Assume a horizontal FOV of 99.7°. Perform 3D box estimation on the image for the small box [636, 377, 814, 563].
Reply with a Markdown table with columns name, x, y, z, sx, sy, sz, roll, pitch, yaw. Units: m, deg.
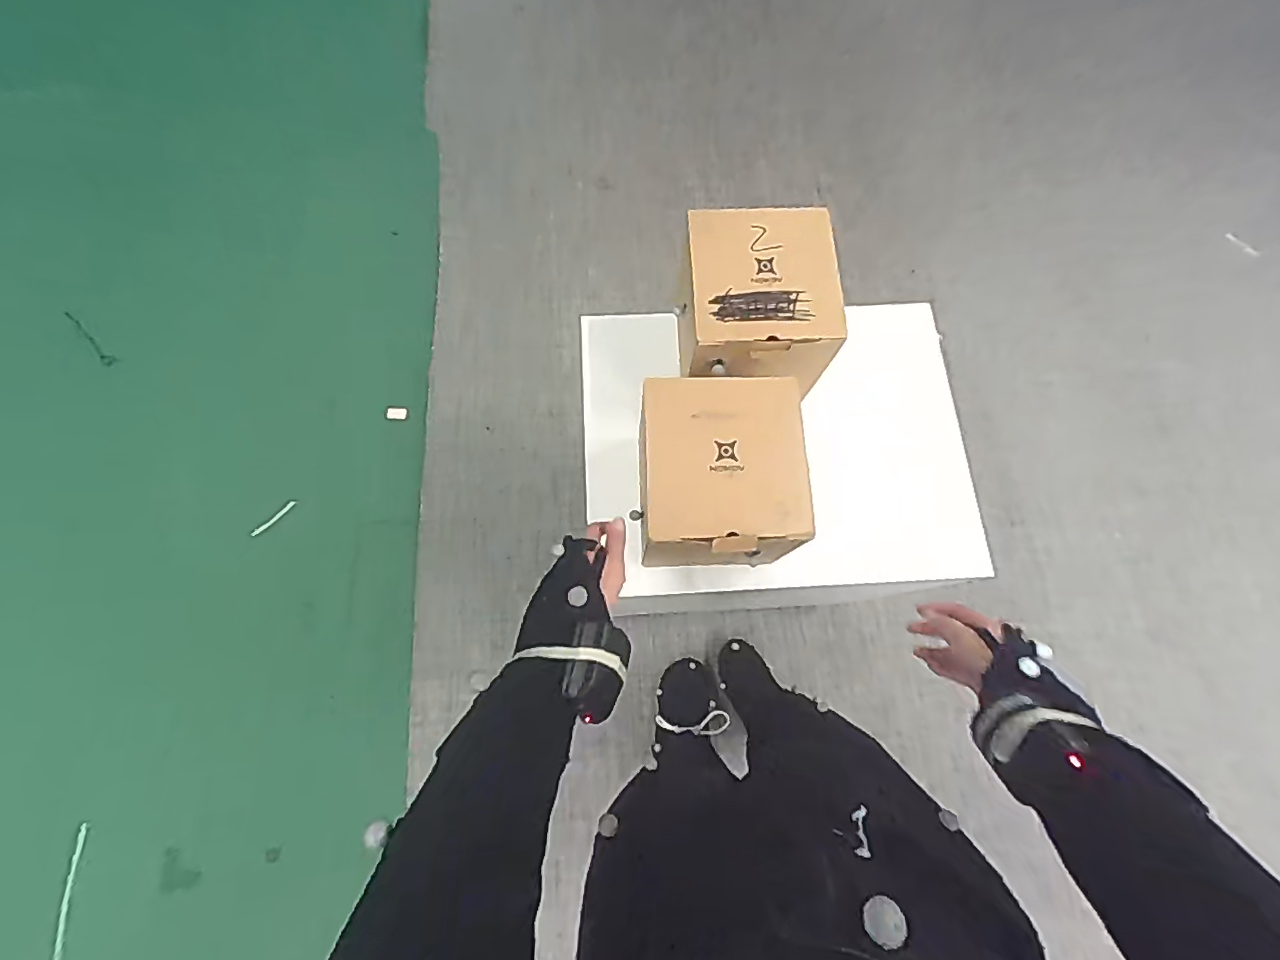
| name | x | y | z | sx | sy | sz | roll | pitch | yaw |
| --- | --- | --- | --- | --- | --- | --- | --- | --- | --- |
| small box | 0.082 | -0.001 | 0.617 | 0.168 | 0.176 | 0.179 | -1 | 72 | -4 |
